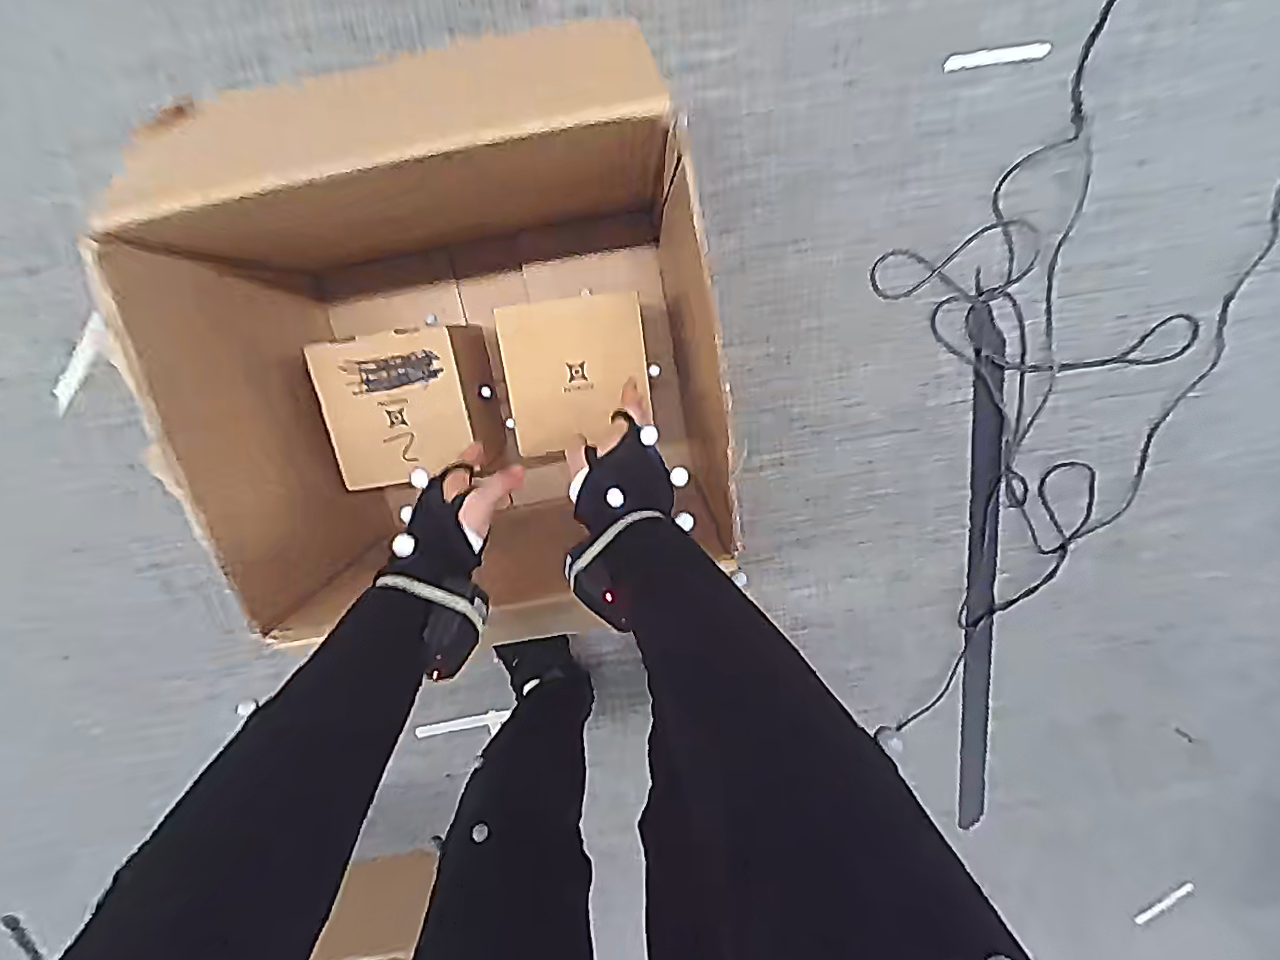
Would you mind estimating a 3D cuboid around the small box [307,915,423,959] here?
[{"bbox_3d":[-0.489,0.904,0.941,0.179,0.176,0.168,-6,106,-3],"label":"small box"}]
